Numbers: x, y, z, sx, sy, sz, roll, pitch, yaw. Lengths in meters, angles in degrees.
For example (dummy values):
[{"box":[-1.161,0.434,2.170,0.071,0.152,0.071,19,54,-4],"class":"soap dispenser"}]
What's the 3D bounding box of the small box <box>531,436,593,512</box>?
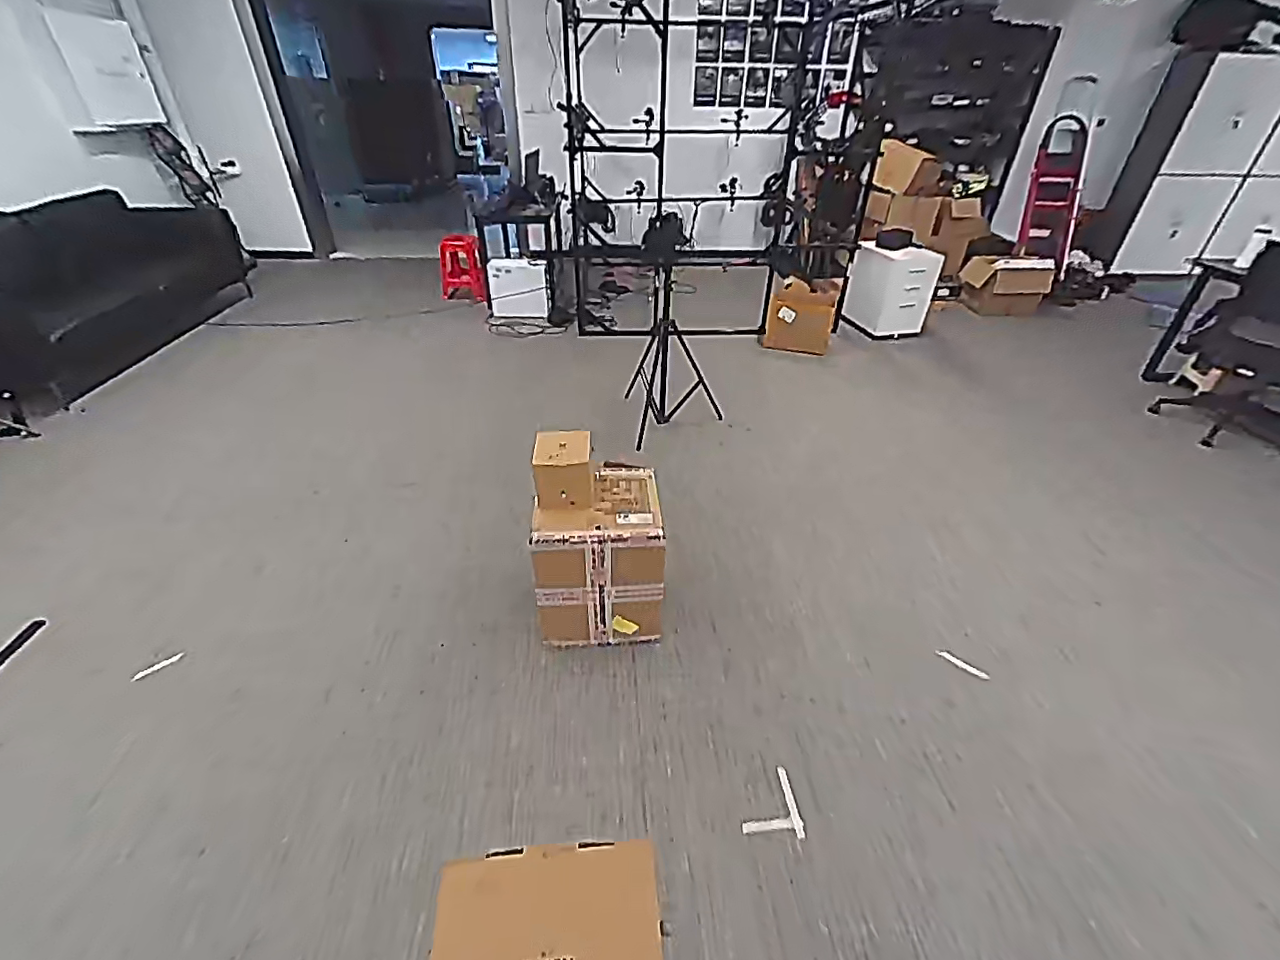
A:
[{"box":[-0.235,-0.019,1.664,0.168,0.176,0.179,-3,38,-2],"class":"small box"}]
